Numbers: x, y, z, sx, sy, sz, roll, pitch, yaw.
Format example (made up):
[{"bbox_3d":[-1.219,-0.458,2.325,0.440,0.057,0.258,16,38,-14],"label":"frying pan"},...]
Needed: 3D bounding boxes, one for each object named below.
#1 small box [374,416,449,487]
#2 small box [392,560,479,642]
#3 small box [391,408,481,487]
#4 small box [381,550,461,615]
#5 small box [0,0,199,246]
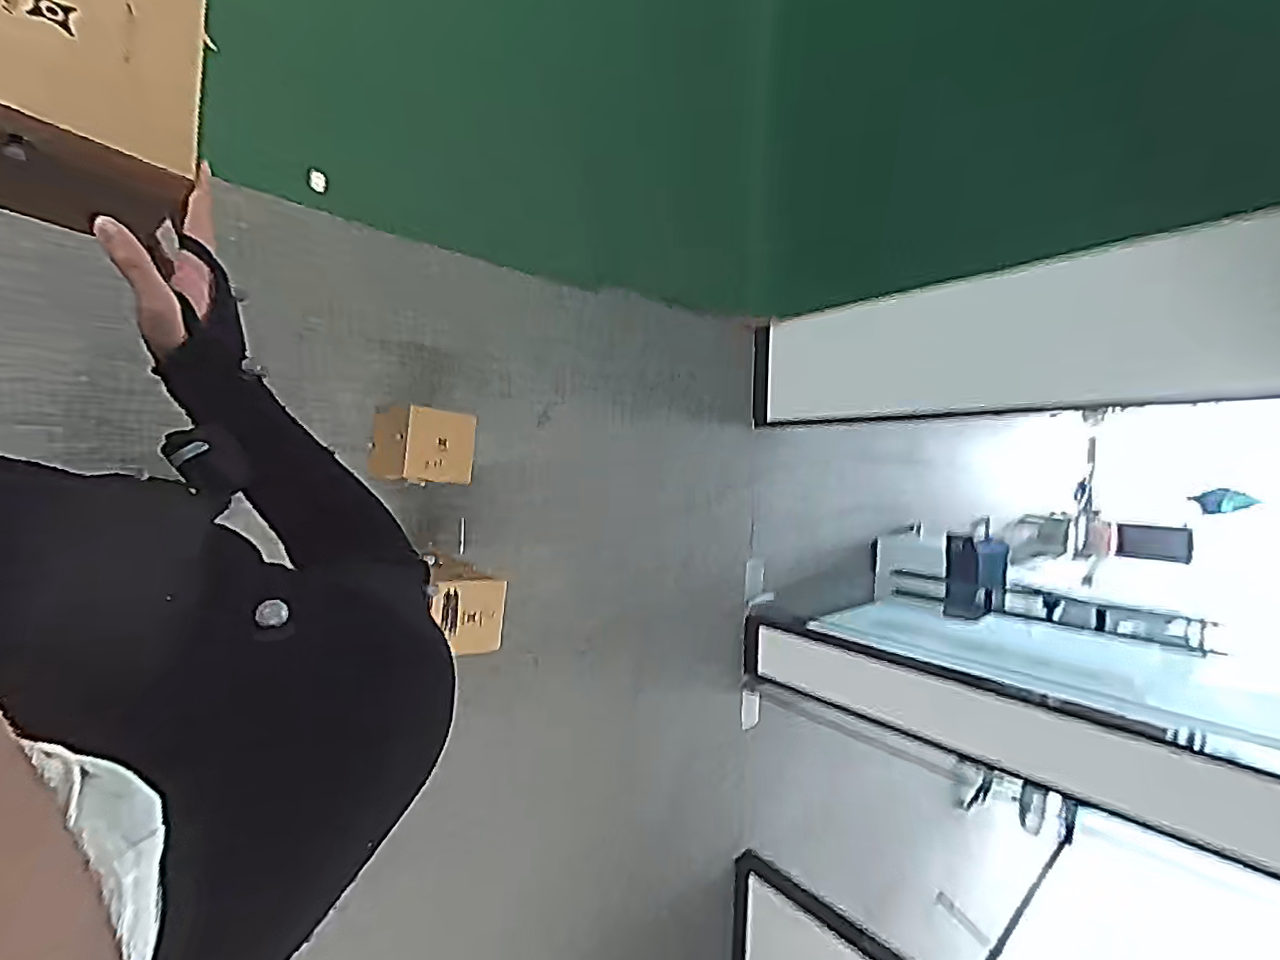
[{"bbox_3d":[-0.633,-0.078,1.514,0.168,0.176,0.179,6,89,-40],"label":"small box"},{"bbox_3d":[-0.533,0.307,1.403,0.179,0.176,0.168,-1,93,-40],"label":"small box"},{"bbox_3d":[-0.527,-0.079,1.387,0.168,0.176,0.179,7,88,-39],"label":"small box"},{"bbox_3d":[-0.624,0.296,1.537,0.168,0.176,0.179,4,90,-39],"label":"small box"},{"bbox_3d":[-0.473,-0.309,0.412,0.179,0.176,0.168,6,80,-52],"label":"small box"}]
